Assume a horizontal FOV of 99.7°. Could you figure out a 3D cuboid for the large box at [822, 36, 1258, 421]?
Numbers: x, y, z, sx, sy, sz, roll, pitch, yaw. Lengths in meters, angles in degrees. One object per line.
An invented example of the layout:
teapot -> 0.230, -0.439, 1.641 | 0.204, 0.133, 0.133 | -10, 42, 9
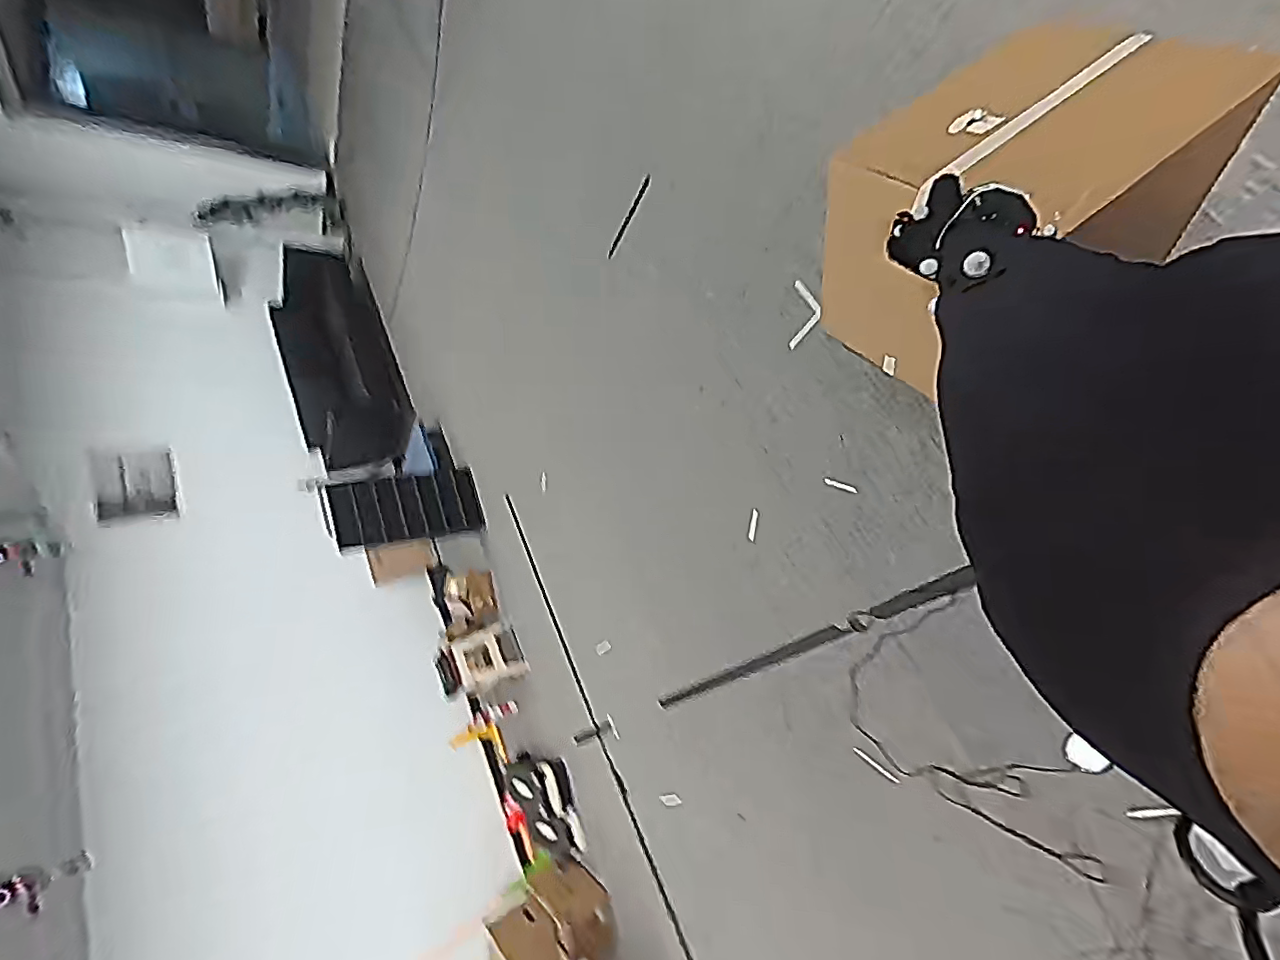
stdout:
large box -> 0.530, -0.372, 0.811 | 0.320, 0.408, 0.320 | 47, 170, 35
